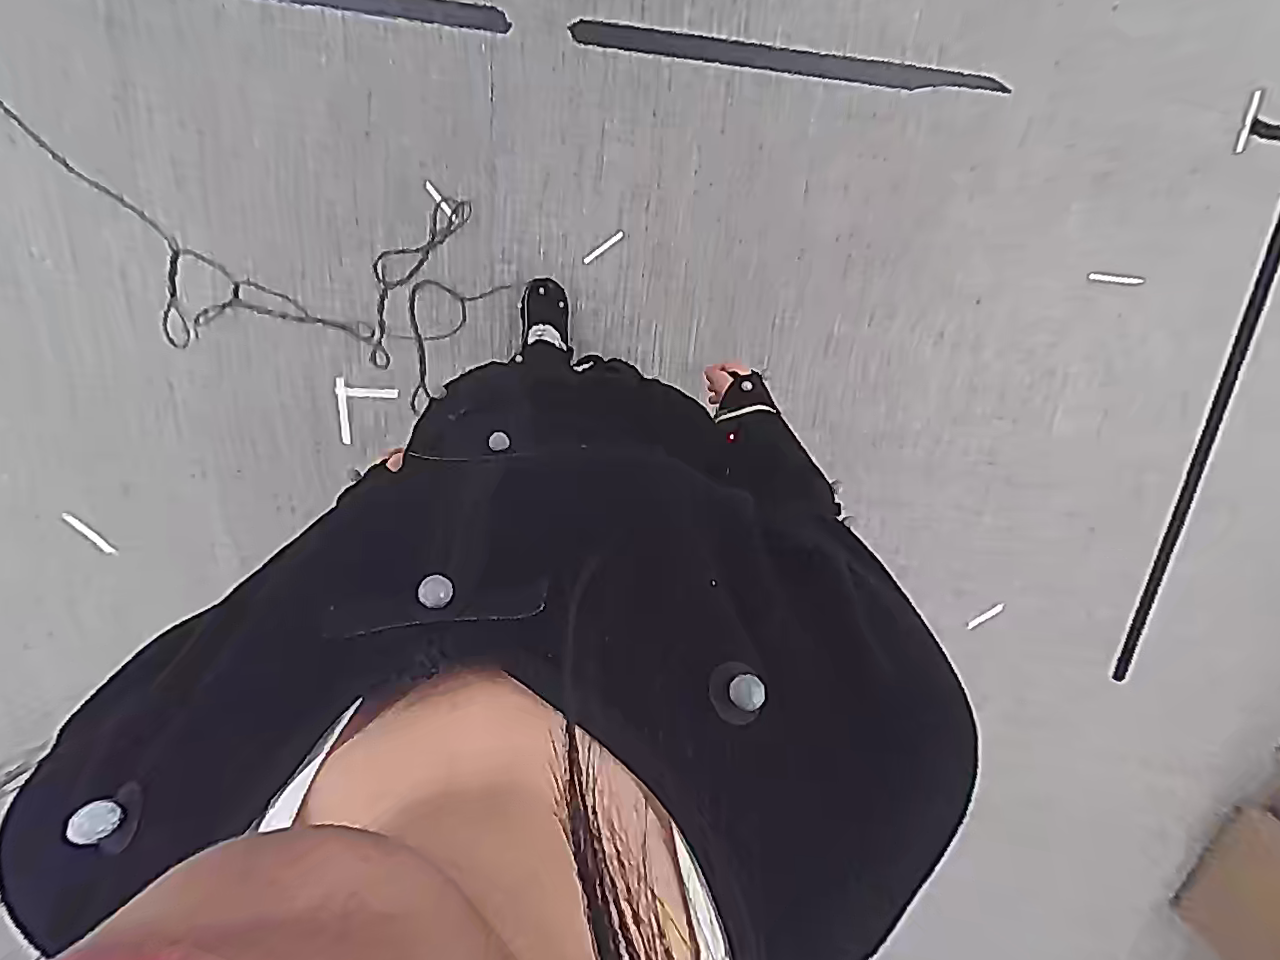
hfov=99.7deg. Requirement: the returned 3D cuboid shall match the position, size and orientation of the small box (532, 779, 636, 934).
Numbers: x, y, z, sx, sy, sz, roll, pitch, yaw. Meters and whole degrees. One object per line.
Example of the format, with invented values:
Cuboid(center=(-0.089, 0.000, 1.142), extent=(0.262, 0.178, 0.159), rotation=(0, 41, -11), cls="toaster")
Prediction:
Cuboid(center=(-0.101, 0.691, 1.006), extent=(0.168, 0.176, 0.179), rotation=(6, 104, -3), cls="small box")
